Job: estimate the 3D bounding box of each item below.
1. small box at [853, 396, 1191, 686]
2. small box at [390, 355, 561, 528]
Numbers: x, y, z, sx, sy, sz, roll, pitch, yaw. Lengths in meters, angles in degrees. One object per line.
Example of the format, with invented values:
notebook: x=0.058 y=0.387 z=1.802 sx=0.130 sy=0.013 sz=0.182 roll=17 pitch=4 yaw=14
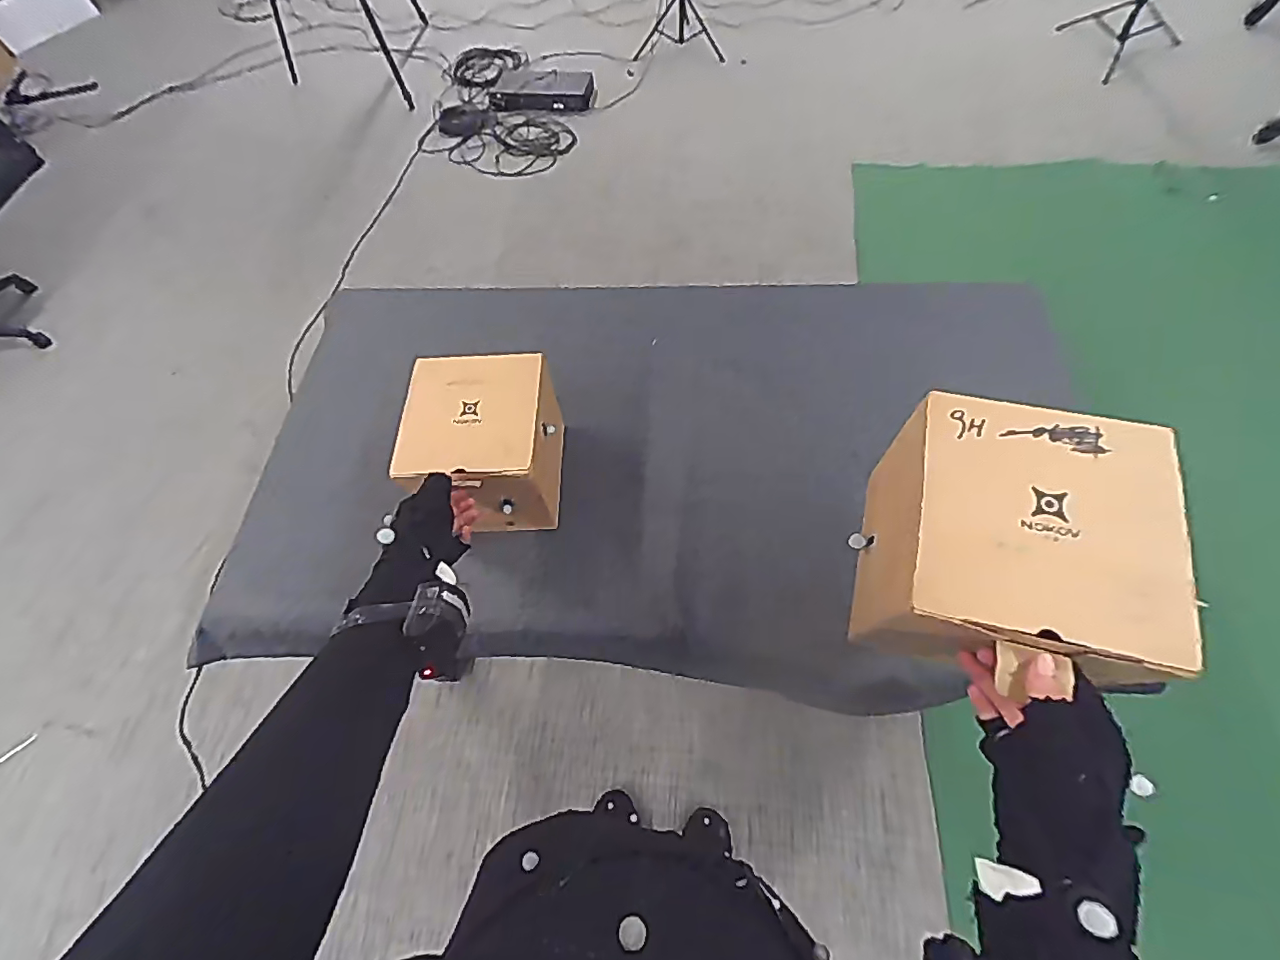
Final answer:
small box: x=0.284 y=0.060 z=0.442 sx=0.168 sy=0.176 sz=0.179 roll=12 pitch=69 yaw=11
small box: x=-0.202 y=-0.042 z=0.719 sx=0.168 sy=0.176 sz=0.179 roll=-2 pitch=61 yaw=1
